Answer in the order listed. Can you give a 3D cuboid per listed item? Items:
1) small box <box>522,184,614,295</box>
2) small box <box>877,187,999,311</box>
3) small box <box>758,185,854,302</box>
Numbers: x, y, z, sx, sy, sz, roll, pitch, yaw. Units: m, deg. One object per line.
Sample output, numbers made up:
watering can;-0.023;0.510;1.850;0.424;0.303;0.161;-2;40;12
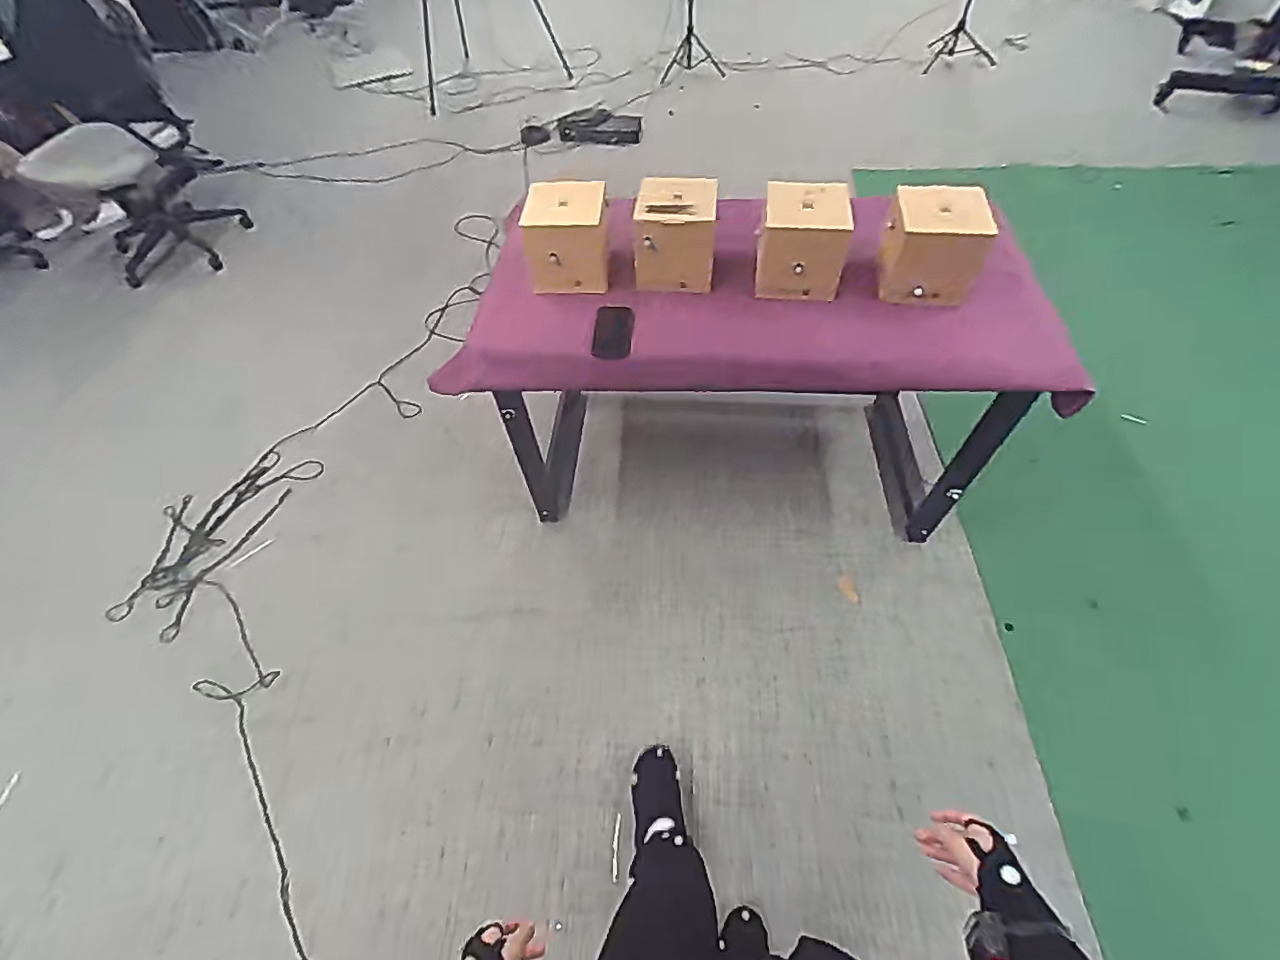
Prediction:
small box;-0.151;-0.529;1.204;0.168;0.176;0.179;0;54;4
small box;0.605;-0.479;1.124;0.168;0.176;0.179;6;55;9
small box;0.346;-0.502;1.154;0.168;0.176;0.179;6;55;7
